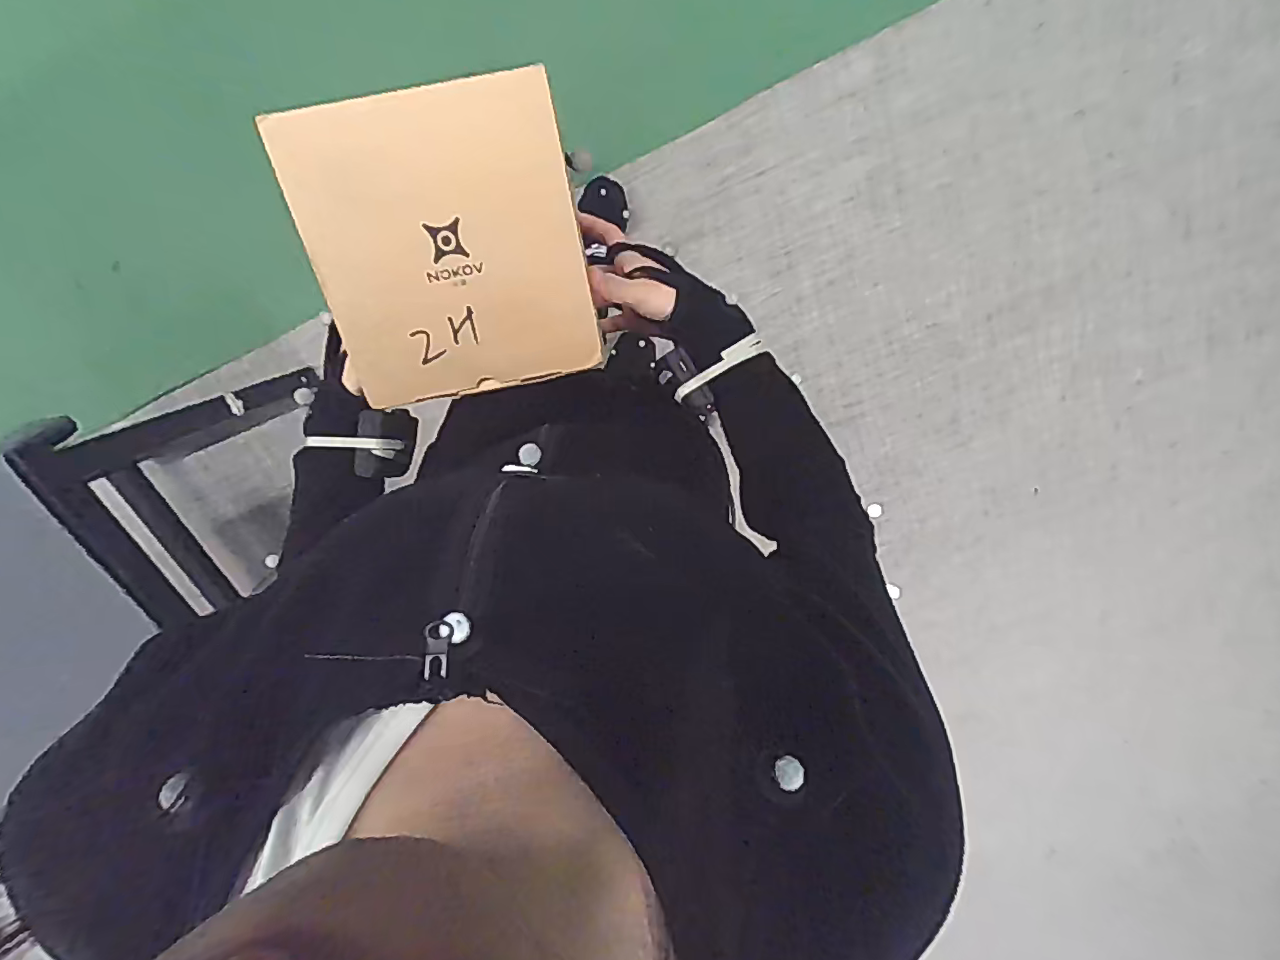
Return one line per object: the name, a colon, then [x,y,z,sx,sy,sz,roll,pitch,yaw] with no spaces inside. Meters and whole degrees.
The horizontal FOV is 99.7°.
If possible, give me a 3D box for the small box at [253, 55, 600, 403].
small box: [-0.128,-0.174,0.404,0.168,0.176,0.179,-11,114,0]
